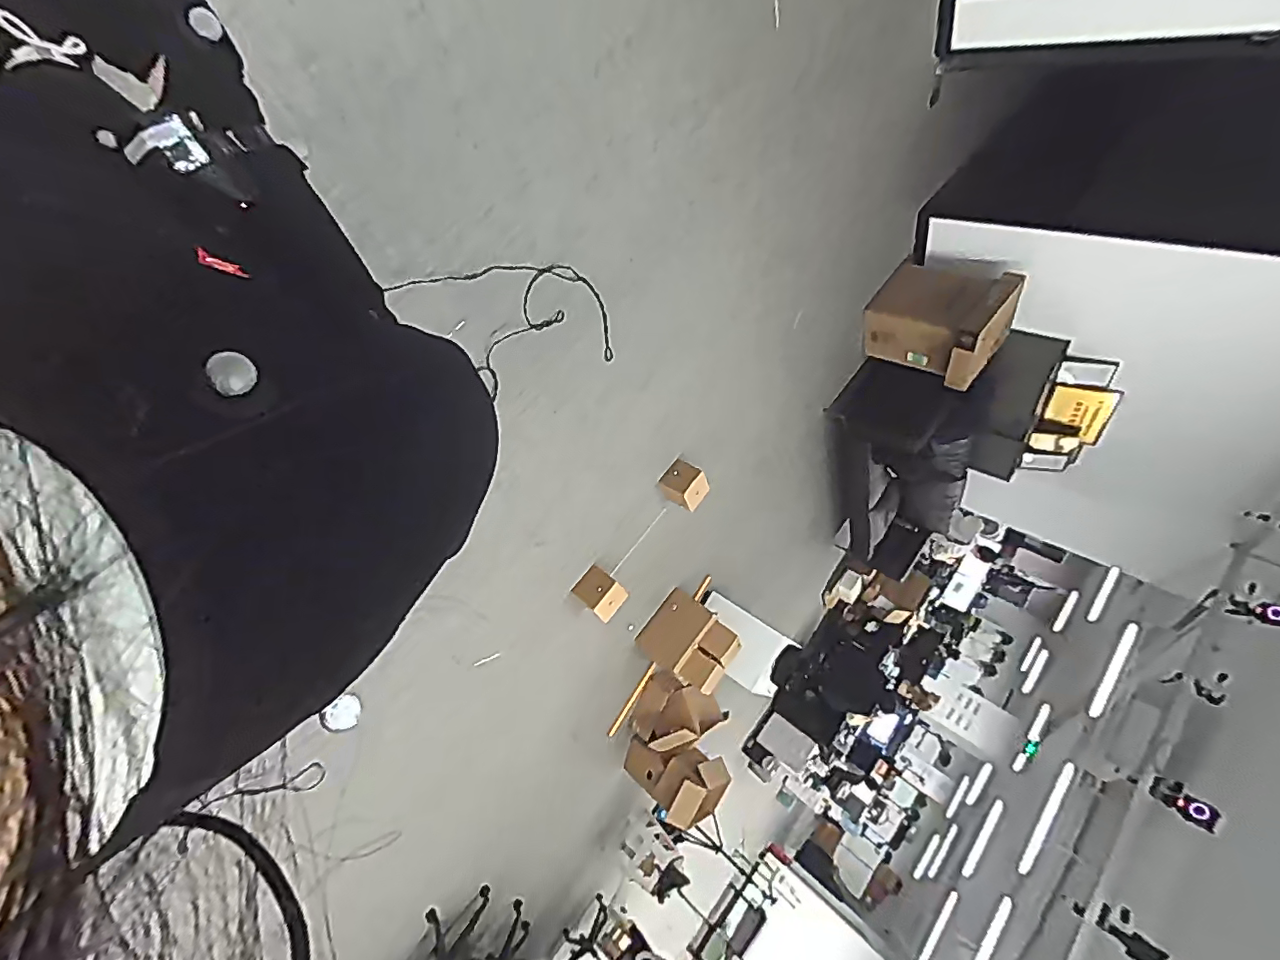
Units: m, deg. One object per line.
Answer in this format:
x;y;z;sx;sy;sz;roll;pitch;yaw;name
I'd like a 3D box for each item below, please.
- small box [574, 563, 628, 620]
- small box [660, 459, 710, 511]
-0.192;0.532;2.592;0.179;0.176;0.168;-50;143;-16;small box
0.230;0.021;2.763;0.168;0.176;0.179;-50;144;-16;small box
